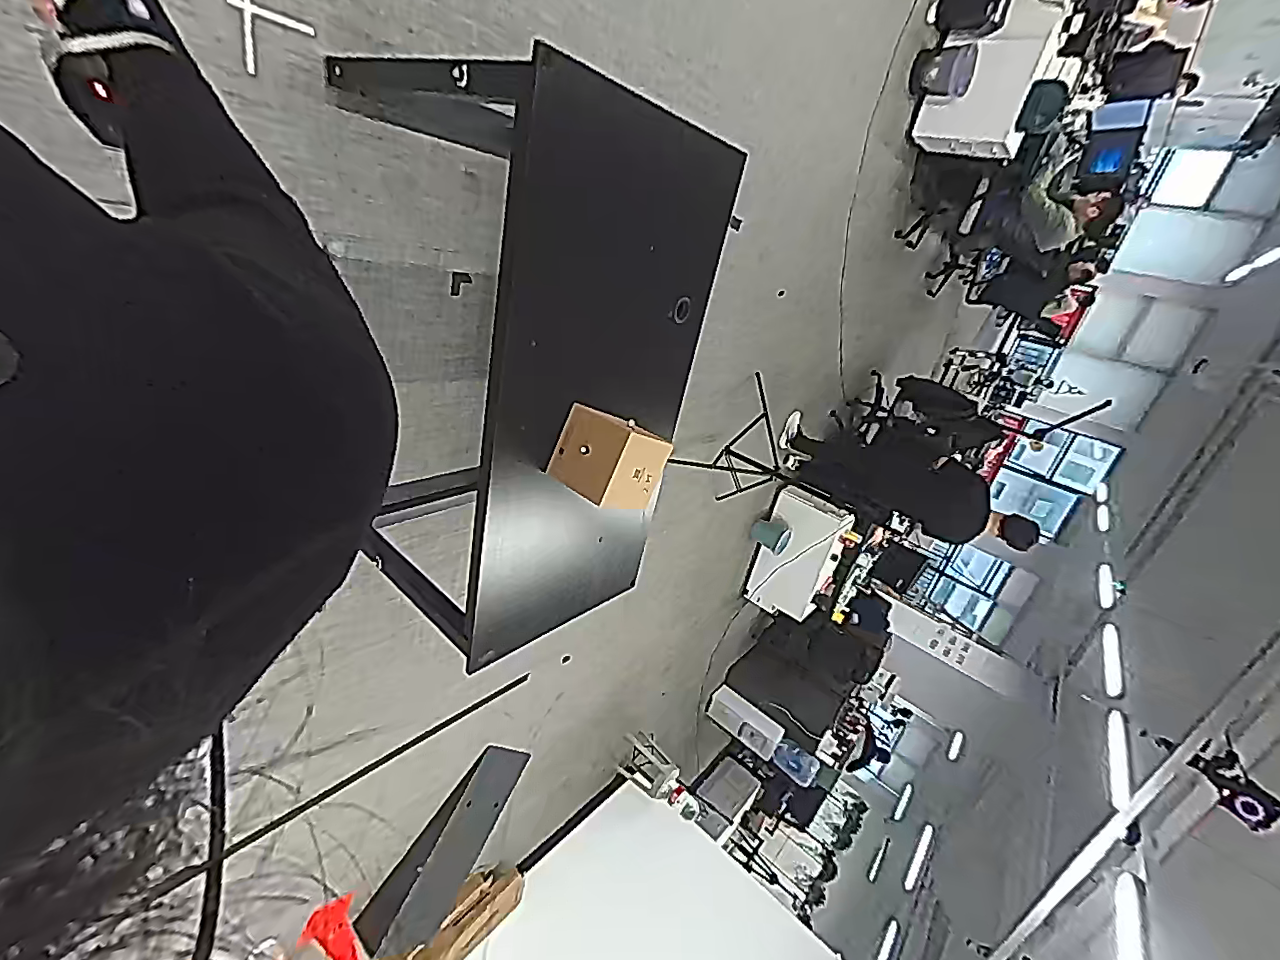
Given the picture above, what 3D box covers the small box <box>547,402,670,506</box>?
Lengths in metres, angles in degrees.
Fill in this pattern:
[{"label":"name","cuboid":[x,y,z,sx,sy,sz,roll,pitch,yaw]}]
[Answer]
[{"label":"small box","cuboid":[-0.071,-0.057,1.178,0.179,0.176,0.168,10,107,-58]}]
